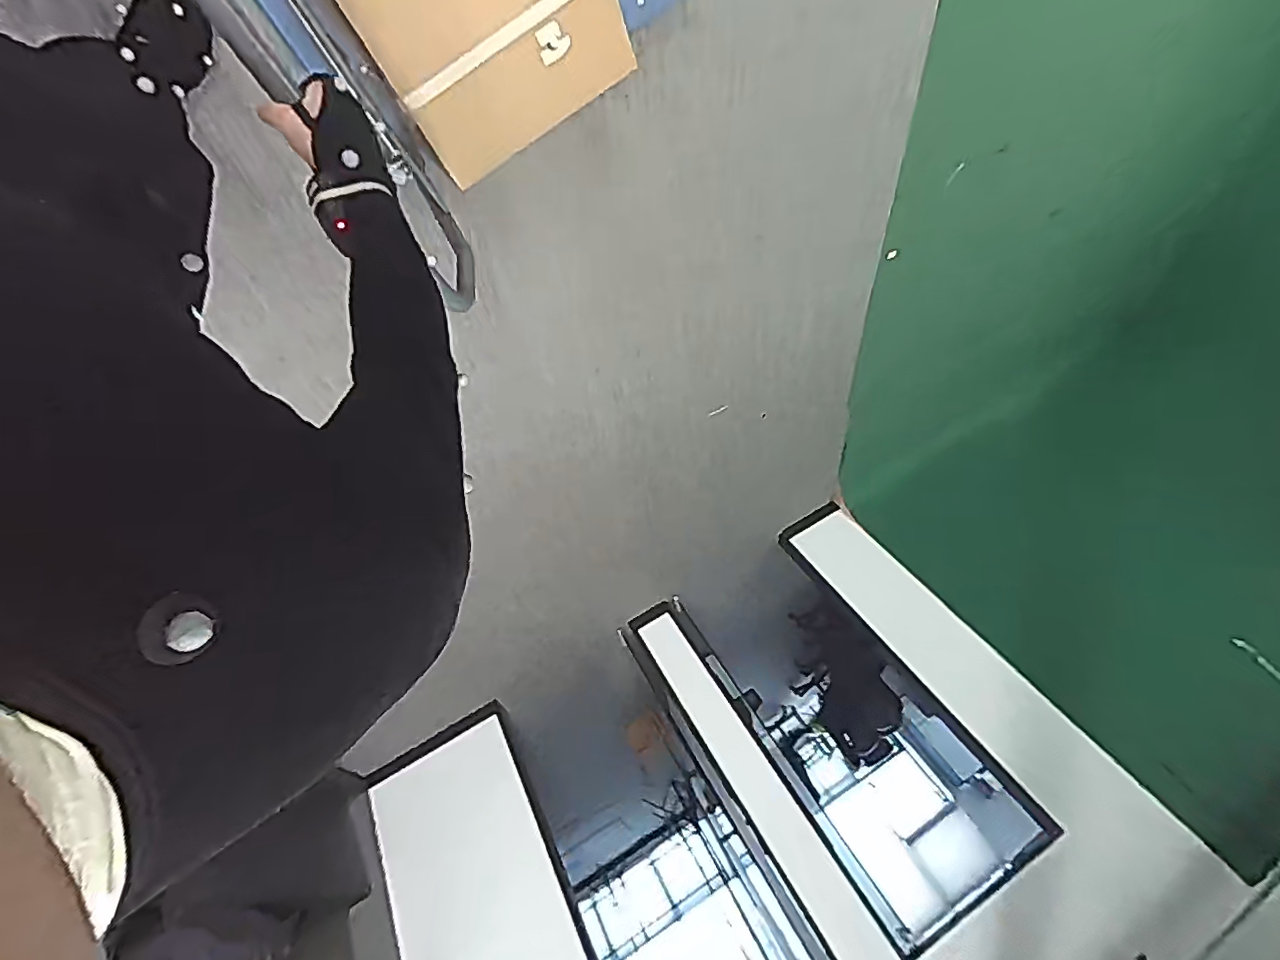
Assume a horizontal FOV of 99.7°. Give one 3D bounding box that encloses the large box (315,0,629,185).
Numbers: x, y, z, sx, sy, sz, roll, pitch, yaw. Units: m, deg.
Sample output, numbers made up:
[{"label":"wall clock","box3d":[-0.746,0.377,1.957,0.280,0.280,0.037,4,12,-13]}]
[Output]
[{"label":"large box","box3d":[-0.302,-0.820,0.958,0.408,0.320,0.320,-37,144,-2]}]
